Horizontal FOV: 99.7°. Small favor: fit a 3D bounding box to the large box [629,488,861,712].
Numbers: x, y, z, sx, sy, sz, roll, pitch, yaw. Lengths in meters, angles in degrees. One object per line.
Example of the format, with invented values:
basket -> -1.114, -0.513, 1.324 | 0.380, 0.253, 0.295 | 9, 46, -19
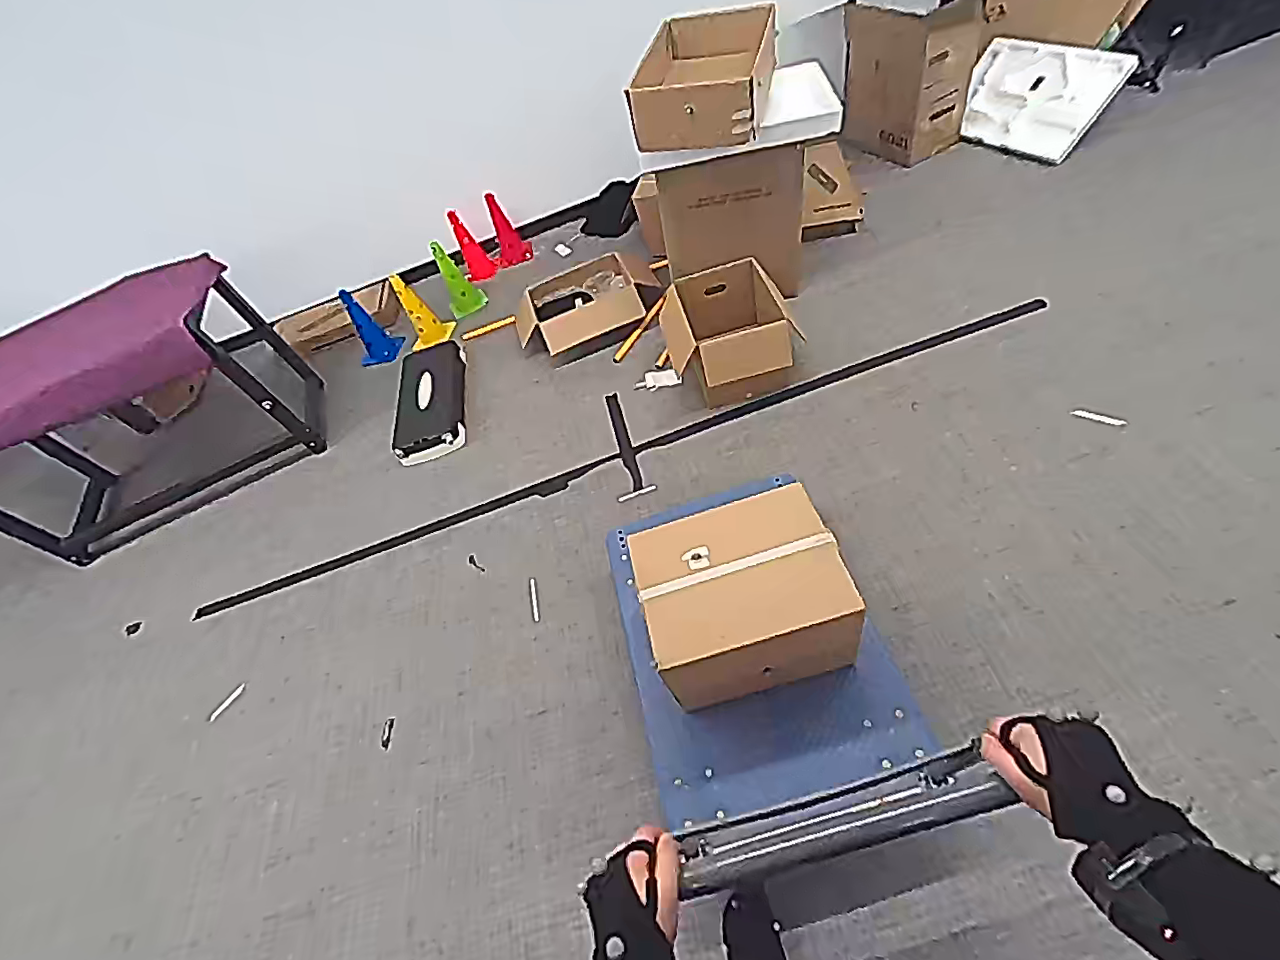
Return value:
large box -> 0.232, 0.280, 1.223 | 0.408, 0.320, 0.320 | -19, 50, 4
